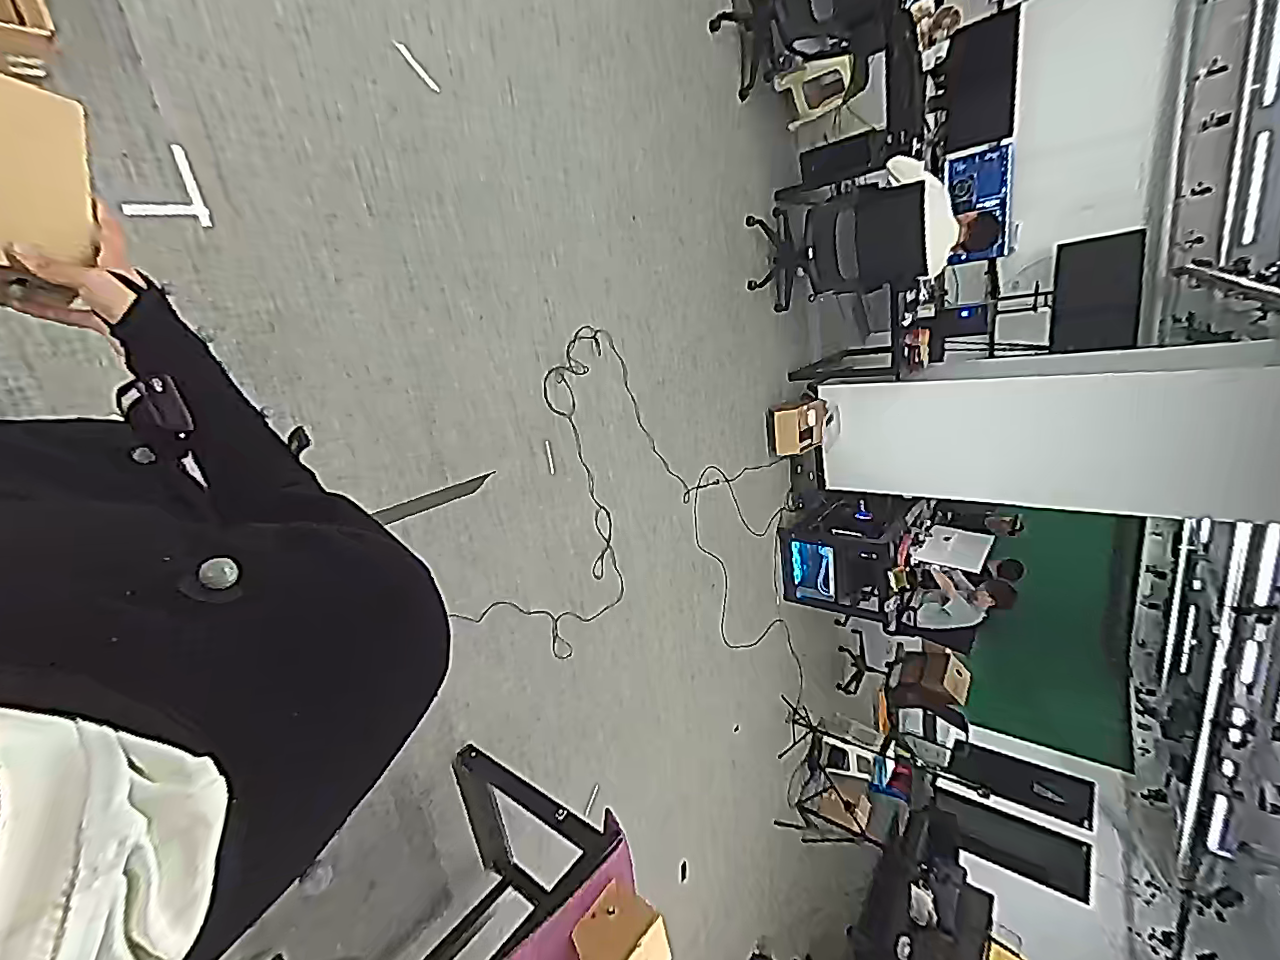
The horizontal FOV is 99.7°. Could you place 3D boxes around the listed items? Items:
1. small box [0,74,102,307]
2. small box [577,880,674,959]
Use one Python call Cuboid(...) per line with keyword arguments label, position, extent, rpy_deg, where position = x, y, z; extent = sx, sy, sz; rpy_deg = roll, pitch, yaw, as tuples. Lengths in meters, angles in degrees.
Cuboid(label="small box", position=(-0.623, -0.260, 0.478), extent=(0.179, 0.176, 0.168), rpy_deg=(-7, 96, -54))
Cuboid(label="small box", position=(-0.037, 1.197, 1.400), extent=(0.168, 0.176, 0.179), rpy_deg=(-30, 116, -42))
